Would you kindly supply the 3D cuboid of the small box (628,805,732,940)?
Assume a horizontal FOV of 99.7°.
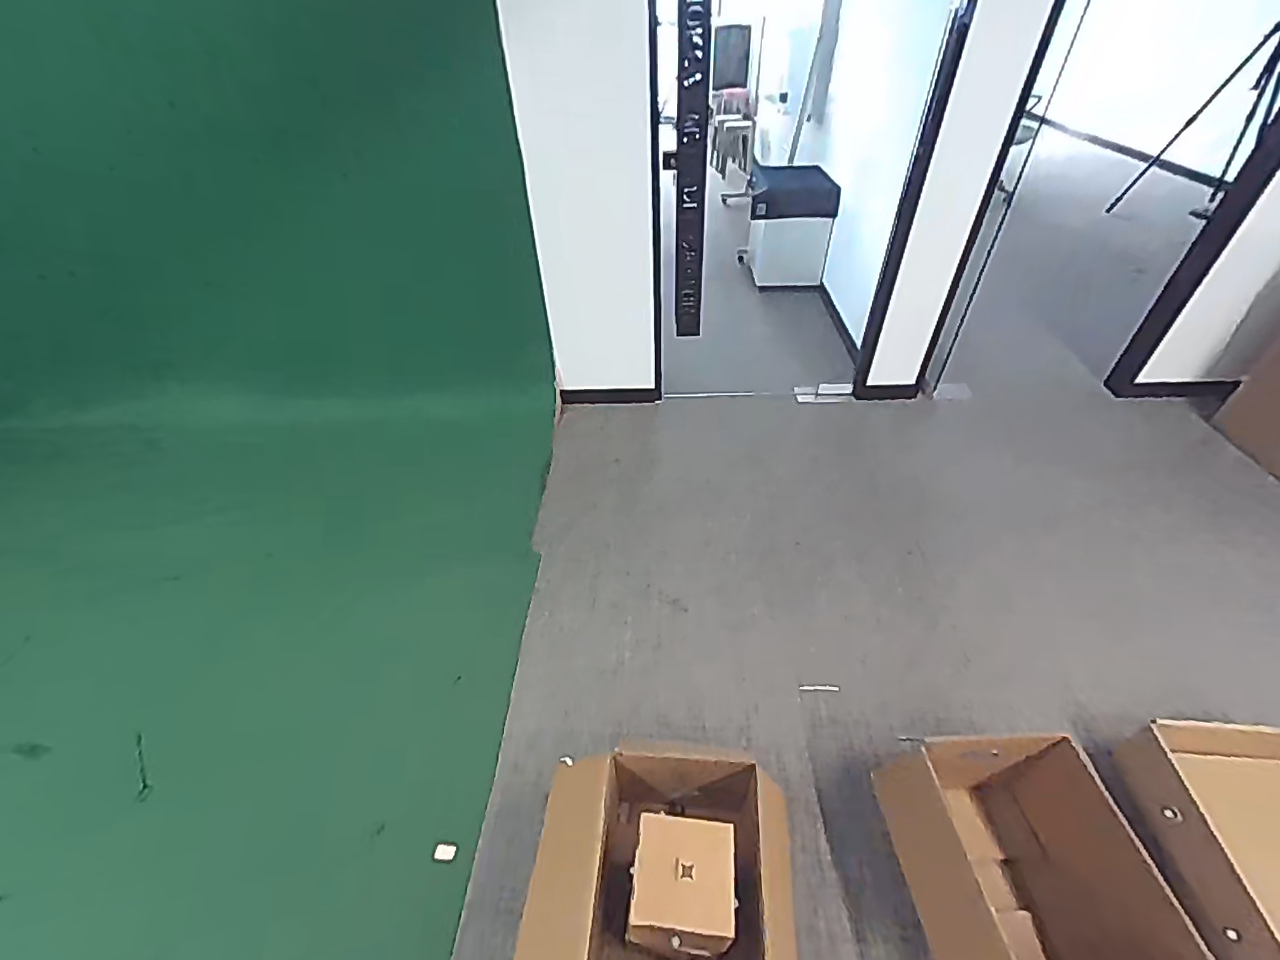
[{"bbox_3d":[0.074,0.735,1.011,0.179,0.176,0.168,4,43,5],"label":"small box"}]
